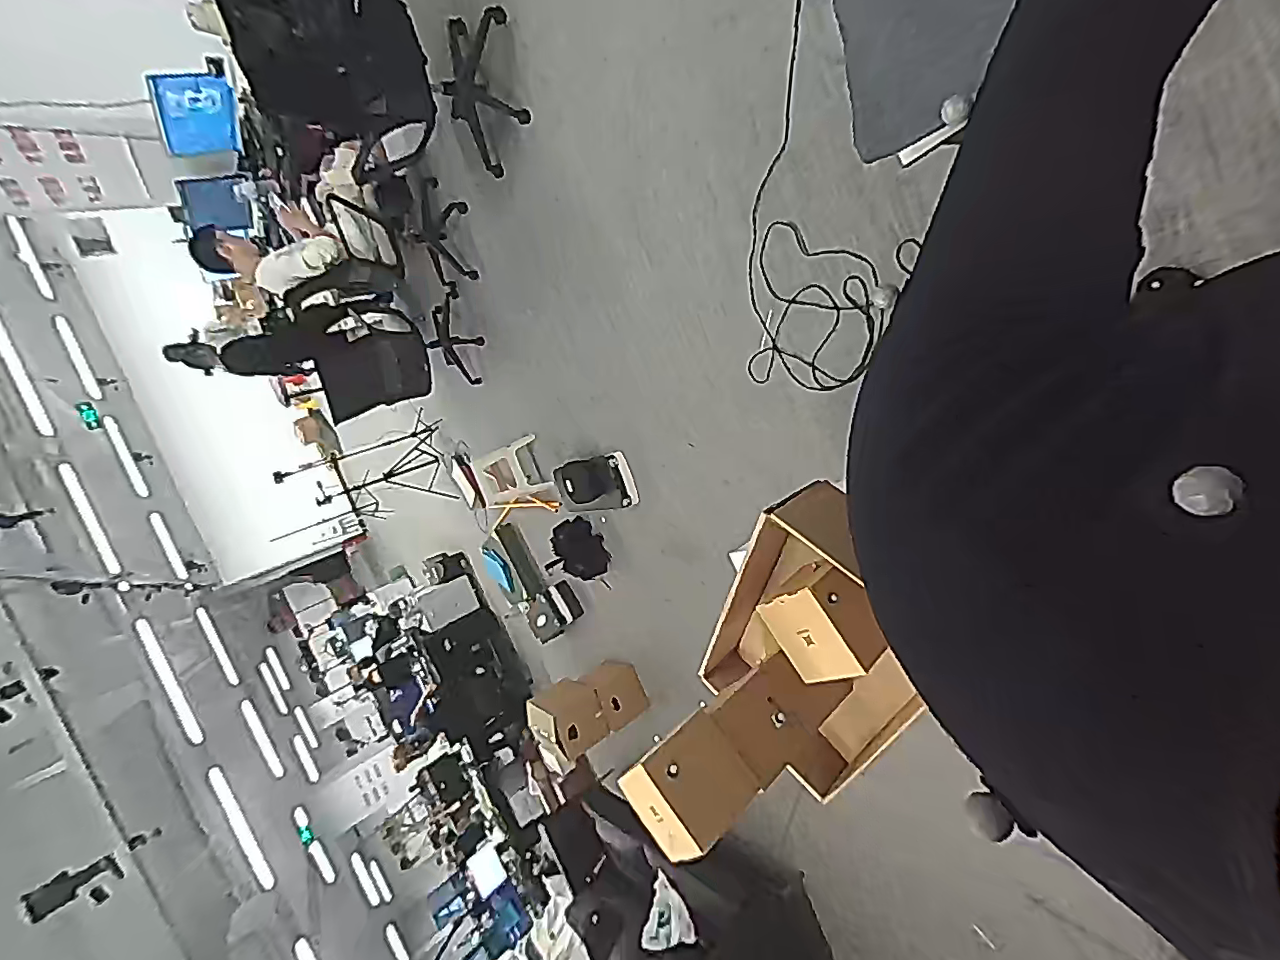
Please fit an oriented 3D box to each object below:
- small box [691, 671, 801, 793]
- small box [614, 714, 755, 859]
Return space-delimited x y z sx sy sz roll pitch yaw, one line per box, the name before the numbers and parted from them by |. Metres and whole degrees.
small box | 0.205 0.538 1.143 0.168 0.176 0.179 51 141 17
small box | 0.083 0.580 1.040 0.179 0.176 0.168 49 142 19
